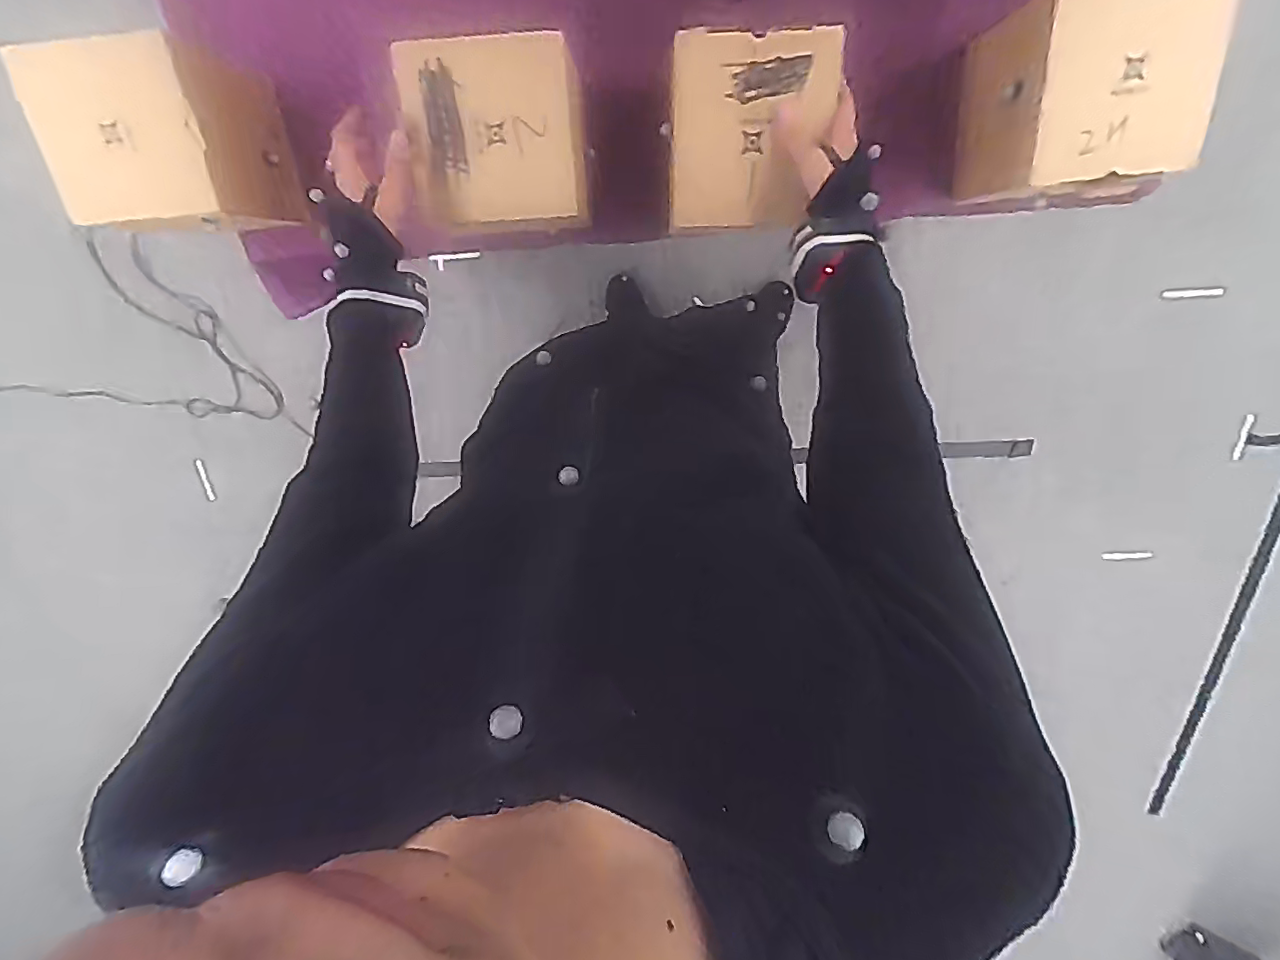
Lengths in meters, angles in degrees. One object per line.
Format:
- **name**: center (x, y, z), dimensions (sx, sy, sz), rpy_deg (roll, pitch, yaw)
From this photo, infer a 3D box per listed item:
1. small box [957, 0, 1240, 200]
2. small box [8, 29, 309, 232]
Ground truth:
- **small box**: center (0.481, -0.424, 0.599), dimensions (0.168, 0.176, 0.179), rpy_deg (-4, 112, 4)
- **small box**: center (-0.541, -0.394, 0.640), dimensions (0.179, 0.176, 0.168), rpy_deg (-4, 112, 2)
